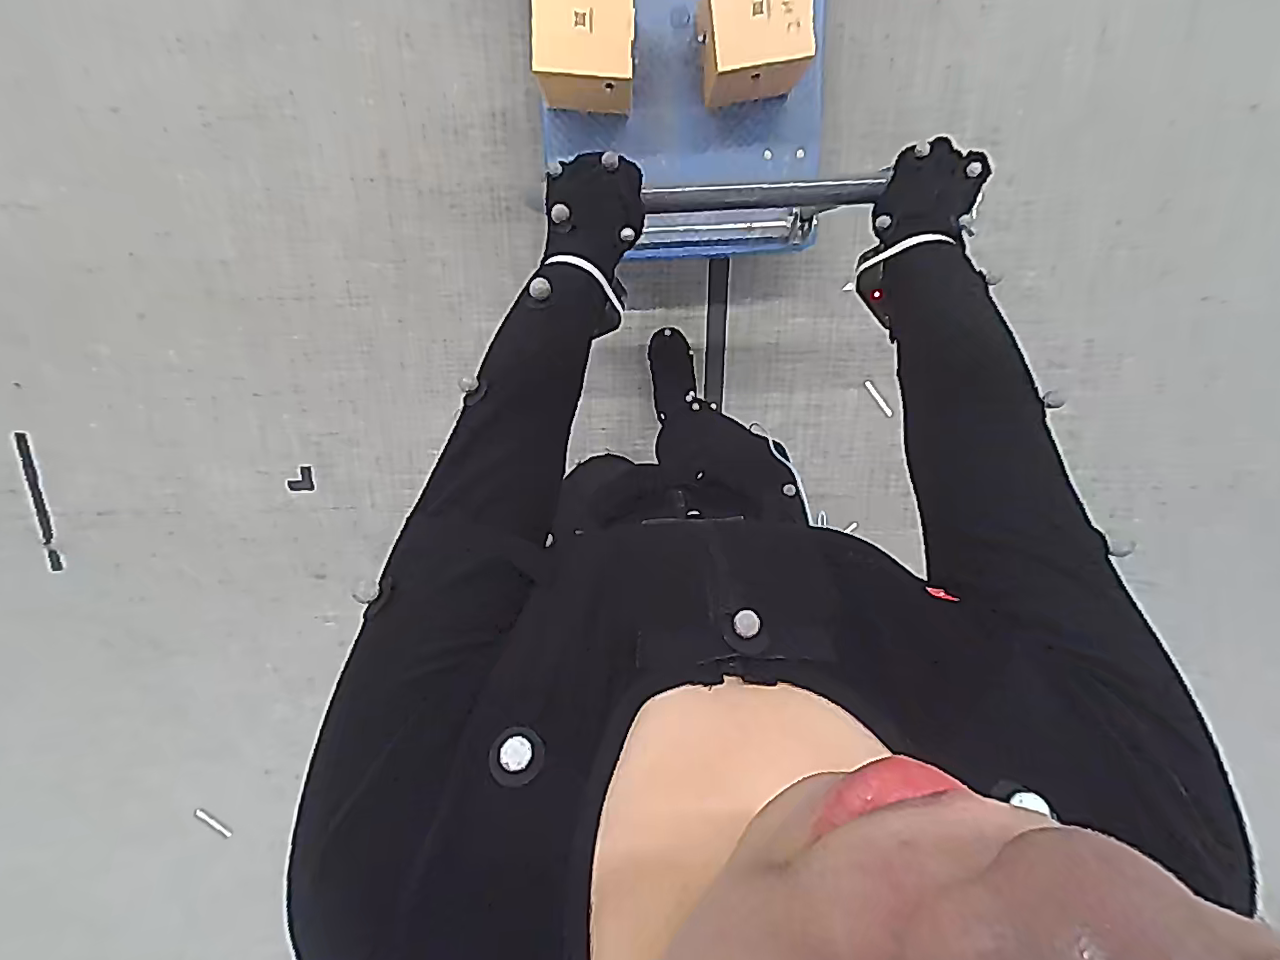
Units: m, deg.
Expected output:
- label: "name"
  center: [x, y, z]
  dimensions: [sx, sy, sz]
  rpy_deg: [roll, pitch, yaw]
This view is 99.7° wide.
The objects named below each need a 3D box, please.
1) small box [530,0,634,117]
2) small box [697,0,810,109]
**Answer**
- label: "small box"
  center: [-0.103, -0.802, 1.006]
  dimensions: [0.179, 0.176, 0.168]
  rpy_deg: [2, 106, -3]
- label: "small box"
  center: [0.203, -0.822, 1.007]
  dimensions: [0.179, 0.176, 0.168]
  rpy_deg: [-8, 107, 1]
